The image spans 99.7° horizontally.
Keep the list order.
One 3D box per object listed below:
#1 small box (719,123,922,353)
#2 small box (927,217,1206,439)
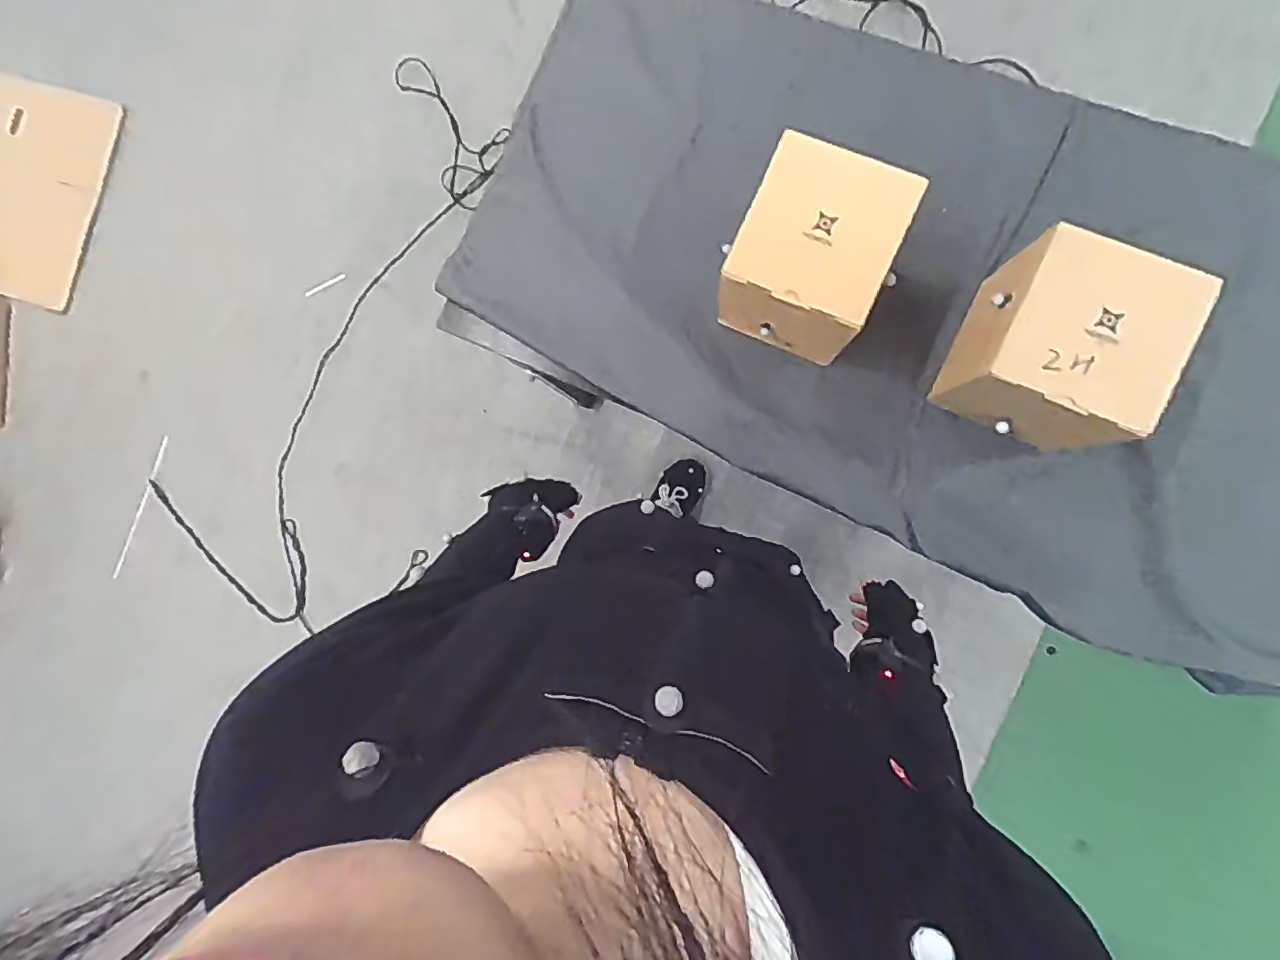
[{"bbox_3d":[0.204,-0.282,0.670,0.168,0.176,0.179,24,92,5],"label":"small box"},{"bbox_3d":[0.476,-0.163,0.637,0.168,0.176,0.179,24,92,6],"label":"small box"}]
